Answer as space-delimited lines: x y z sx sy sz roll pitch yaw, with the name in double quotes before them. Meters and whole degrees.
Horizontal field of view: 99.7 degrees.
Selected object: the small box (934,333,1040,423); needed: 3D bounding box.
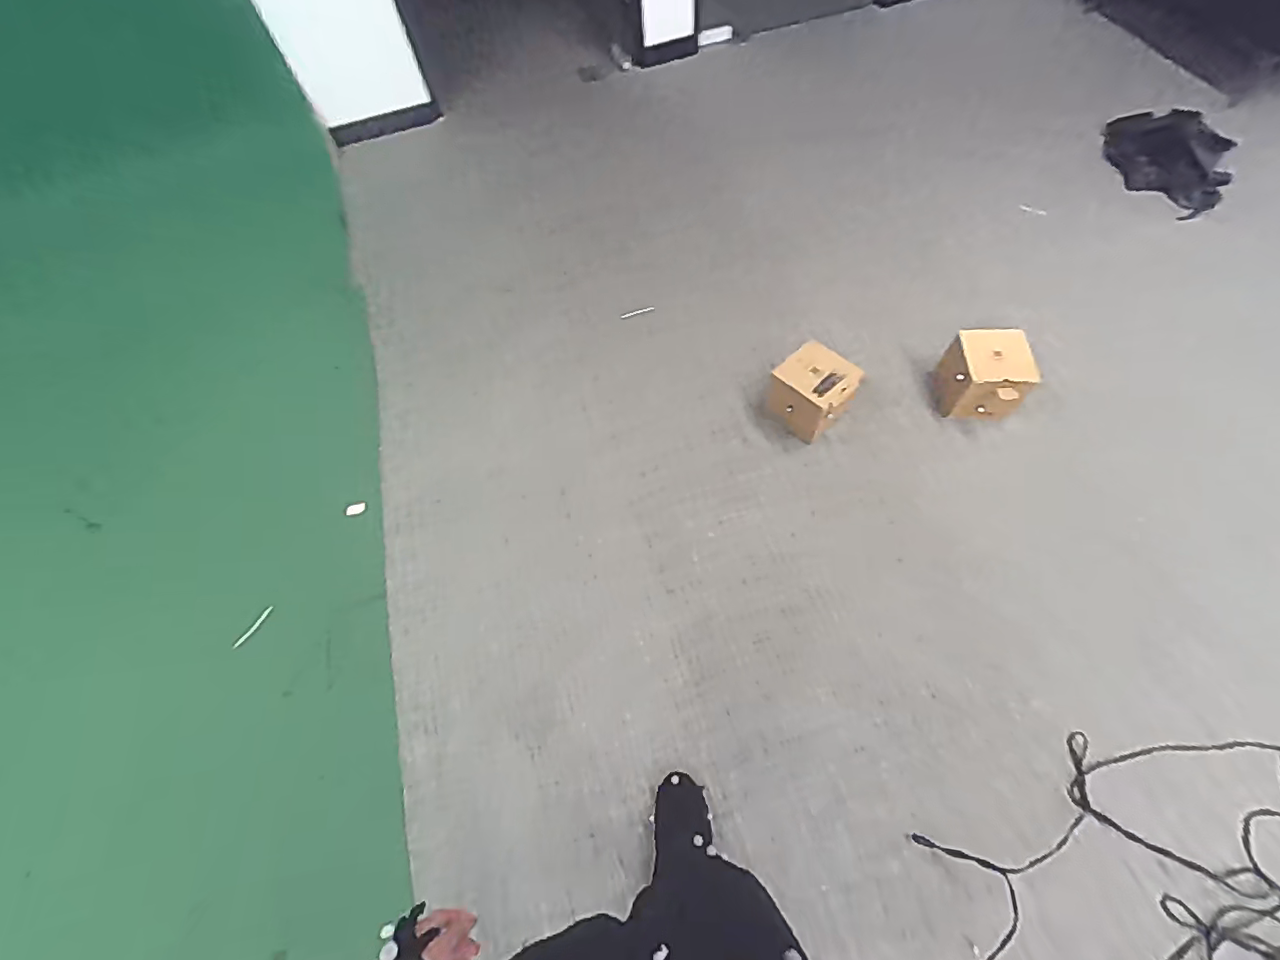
"small box" 0.922 -0.273 1.459 0.168 0.176 0.179 1 62 5
